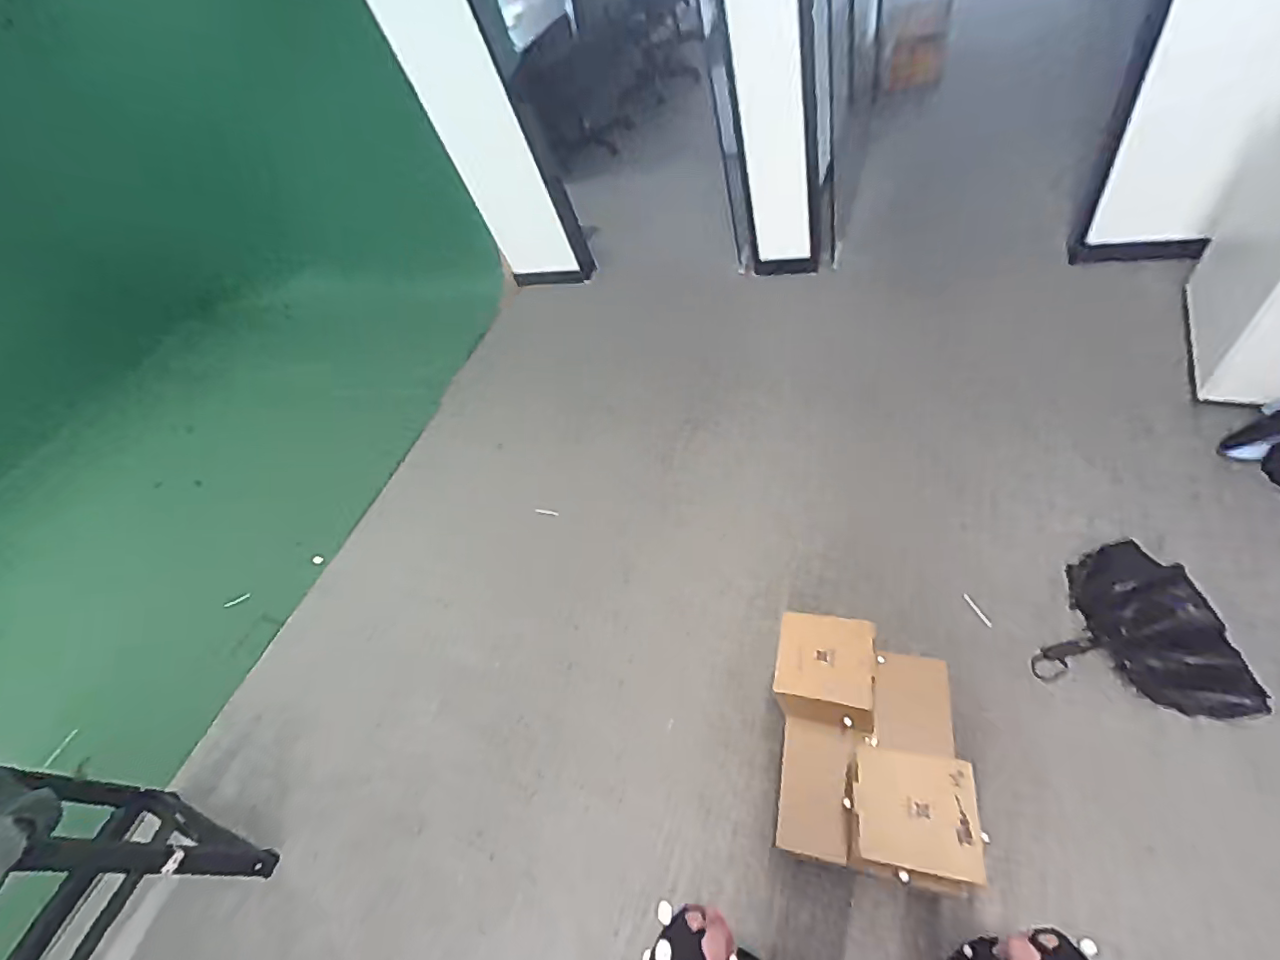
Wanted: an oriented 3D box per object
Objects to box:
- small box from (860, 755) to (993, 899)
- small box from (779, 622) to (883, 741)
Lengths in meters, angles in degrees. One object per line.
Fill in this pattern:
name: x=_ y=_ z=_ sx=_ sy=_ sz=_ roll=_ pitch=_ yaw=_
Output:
small box: x=0.462 y=0.579 z=0.901 sx=0.179 sy=0.176 sz=0.168 roll=0 pitch=53 yaw=20
small box: x=0.386 y=0.403 z=1.076 sx=0.179 sy=0.176 sz=0.168 roll=-1 pitch=52 yaw=26
